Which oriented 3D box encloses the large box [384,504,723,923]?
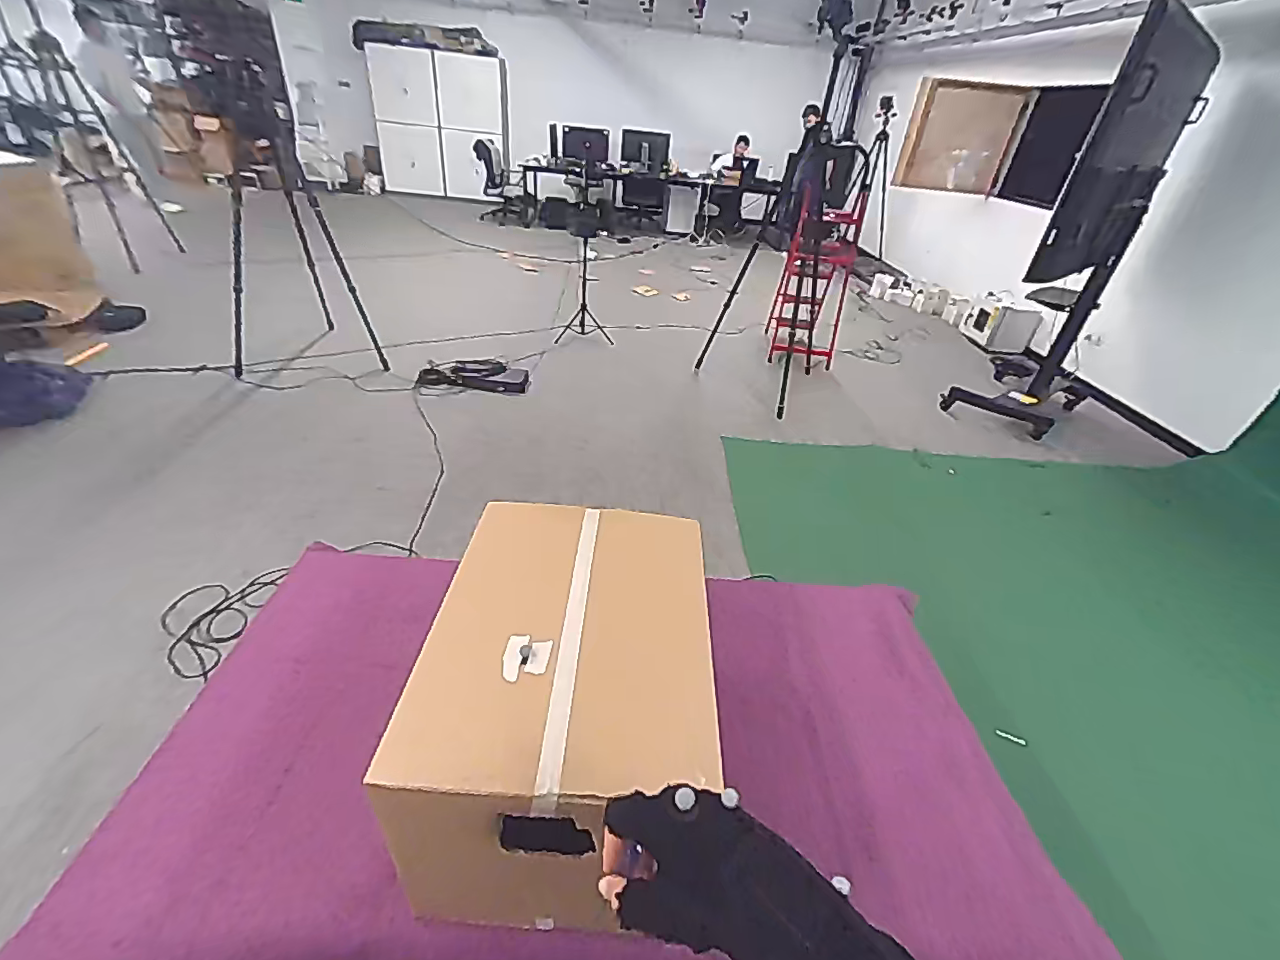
[{"bbox_3d":[-0.089,0.286,0.726,0.320,0.320,0.408,6,35,-2],"label":"large box"}]
